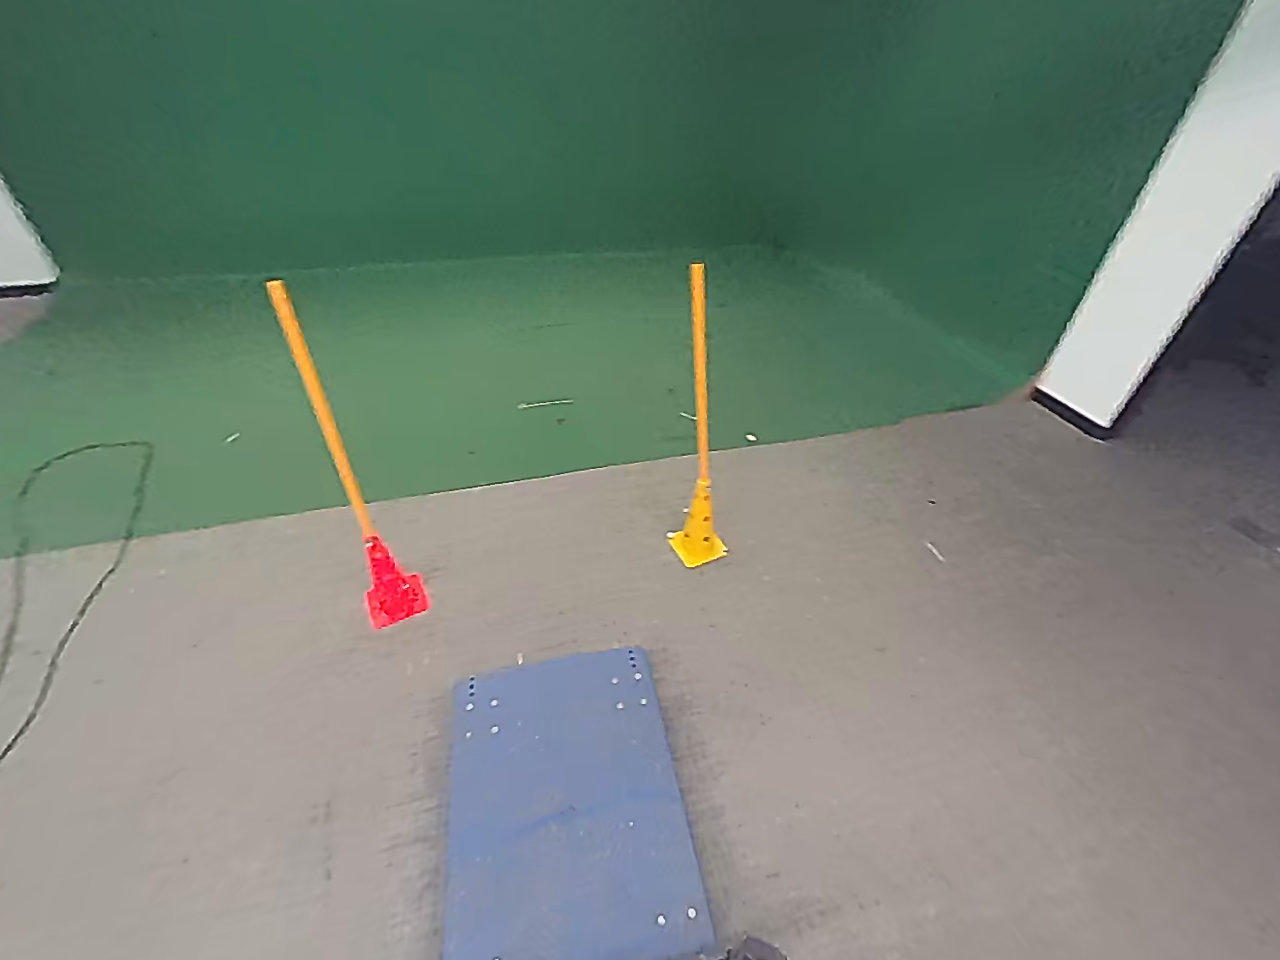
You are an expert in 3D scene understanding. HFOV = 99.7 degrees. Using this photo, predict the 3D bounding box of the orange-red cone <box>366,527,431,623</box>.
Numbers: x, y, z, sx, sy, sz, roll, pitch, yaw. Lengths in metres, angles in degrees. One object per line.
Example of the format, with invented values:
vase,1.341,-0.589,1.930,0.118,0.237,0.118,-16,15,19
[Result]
orange-red cone,-0.899,0.305,1.916,0.199,0.360,0.198,-20,44,-21
